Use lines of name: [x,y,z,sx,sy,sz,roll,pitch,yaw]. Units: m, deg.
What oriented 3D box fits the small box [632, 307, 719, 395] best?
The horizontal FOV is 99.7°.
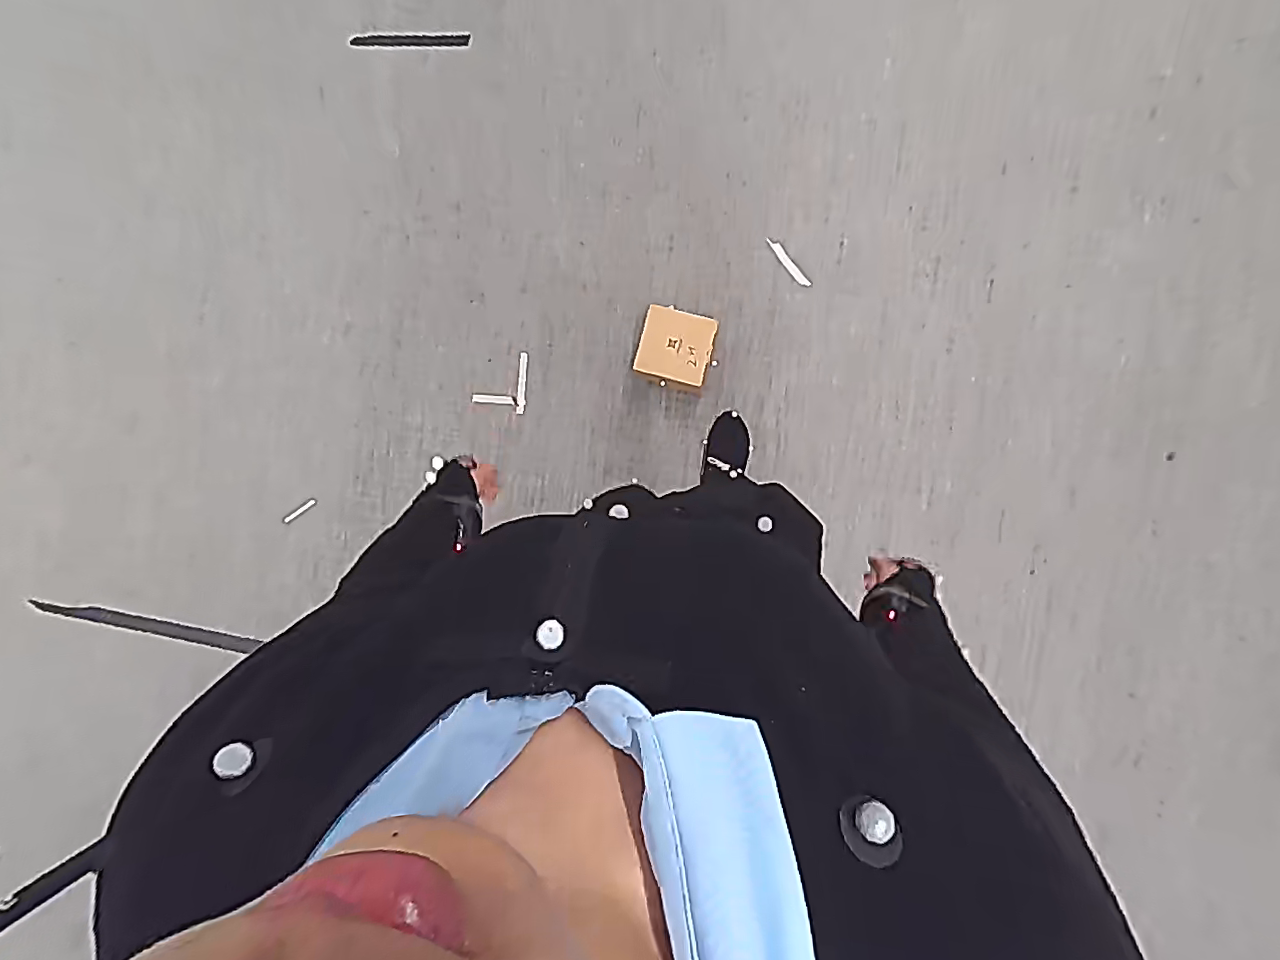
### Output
small box: [0.096,-0.322,1.385,0.179,0.176,0.168,17,95,7]
